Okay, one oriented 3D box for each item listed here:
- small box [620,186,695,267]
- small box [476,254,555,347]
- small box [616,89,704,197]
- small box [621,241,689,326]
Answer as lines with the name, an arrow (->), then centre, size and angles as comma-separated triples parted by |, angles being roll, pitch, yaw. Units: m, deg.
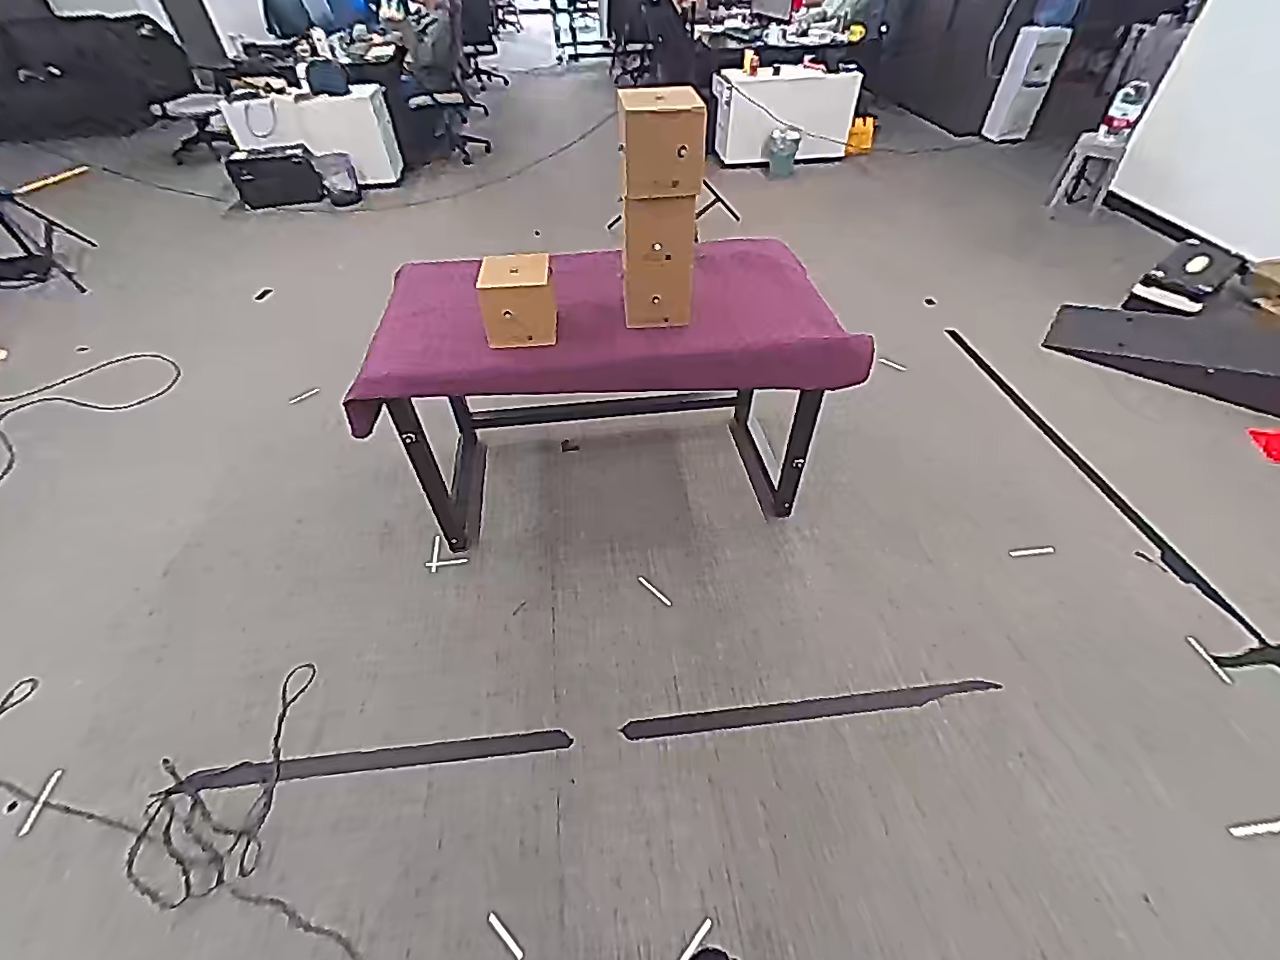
small box -> 0.037, -0.635, 1.312 | 0.168, 0.176, 0.179 | -4, 47, -2
small box -> -0.307, -0.450, 1.370 | 0.168, 0.176, 0.179 | -5, 45, -4
small box -> 0.040, -0.730, 1.179 | 0.168, 0.176, 0.179 | -6, 46, -5
small box -> 0.037, -0.519, 1.428 | 0.168, 0.176, 0.179 | -3, 46, -3
